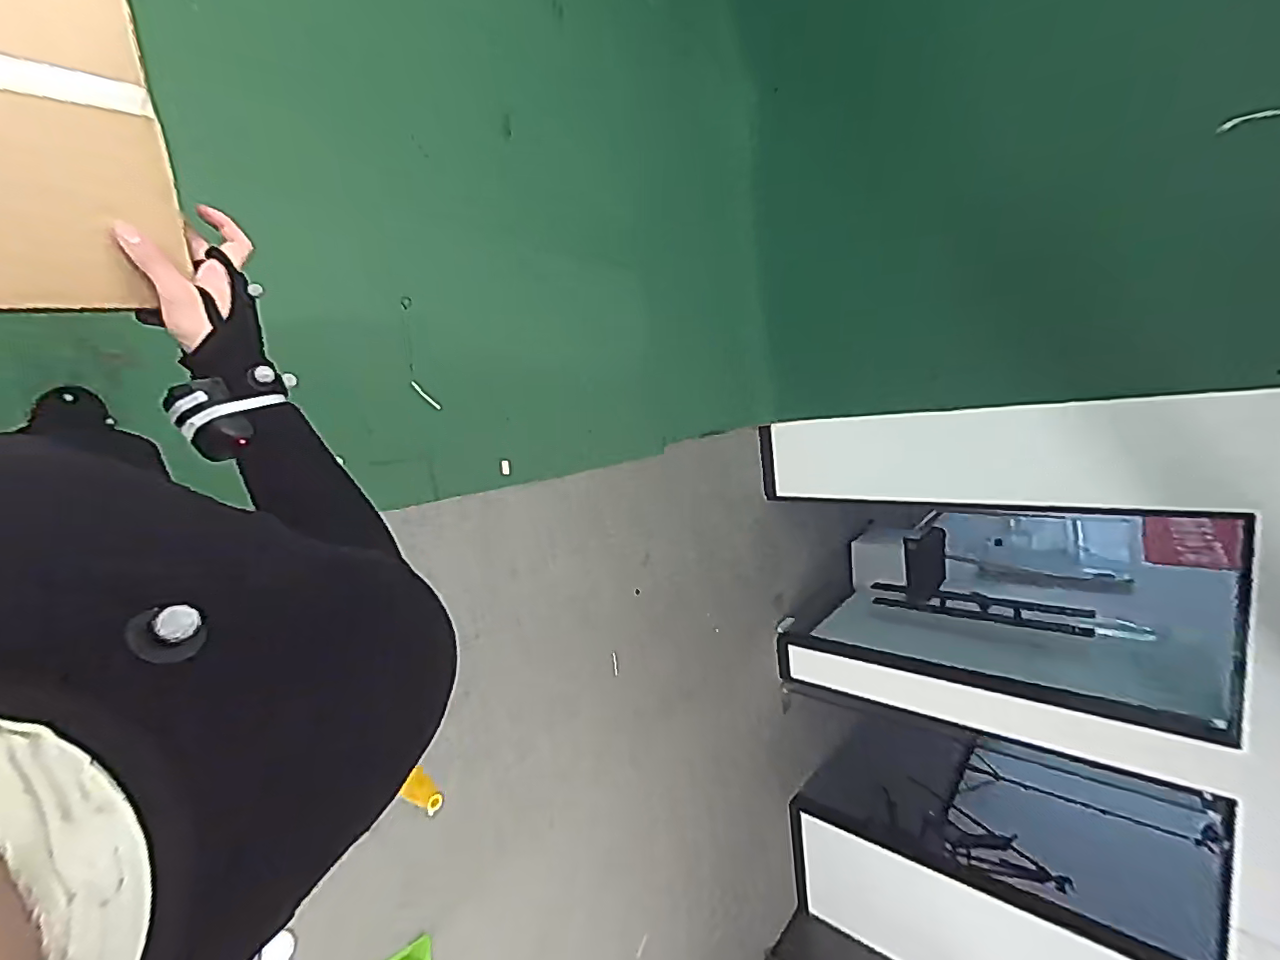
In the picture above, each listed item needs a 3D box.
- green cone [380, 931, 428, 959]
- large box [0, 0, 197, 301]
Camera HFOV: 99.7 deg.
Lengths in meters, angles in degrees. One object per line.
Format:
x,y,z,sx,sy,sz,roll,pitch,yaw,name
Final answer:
-0.636,1.573,1.589,0.200,0.368,0.202,-6,94,-48,green cone
-0.643,-0.294,0.394,0.408,0.320,0.320,-20,116,-46,large box
